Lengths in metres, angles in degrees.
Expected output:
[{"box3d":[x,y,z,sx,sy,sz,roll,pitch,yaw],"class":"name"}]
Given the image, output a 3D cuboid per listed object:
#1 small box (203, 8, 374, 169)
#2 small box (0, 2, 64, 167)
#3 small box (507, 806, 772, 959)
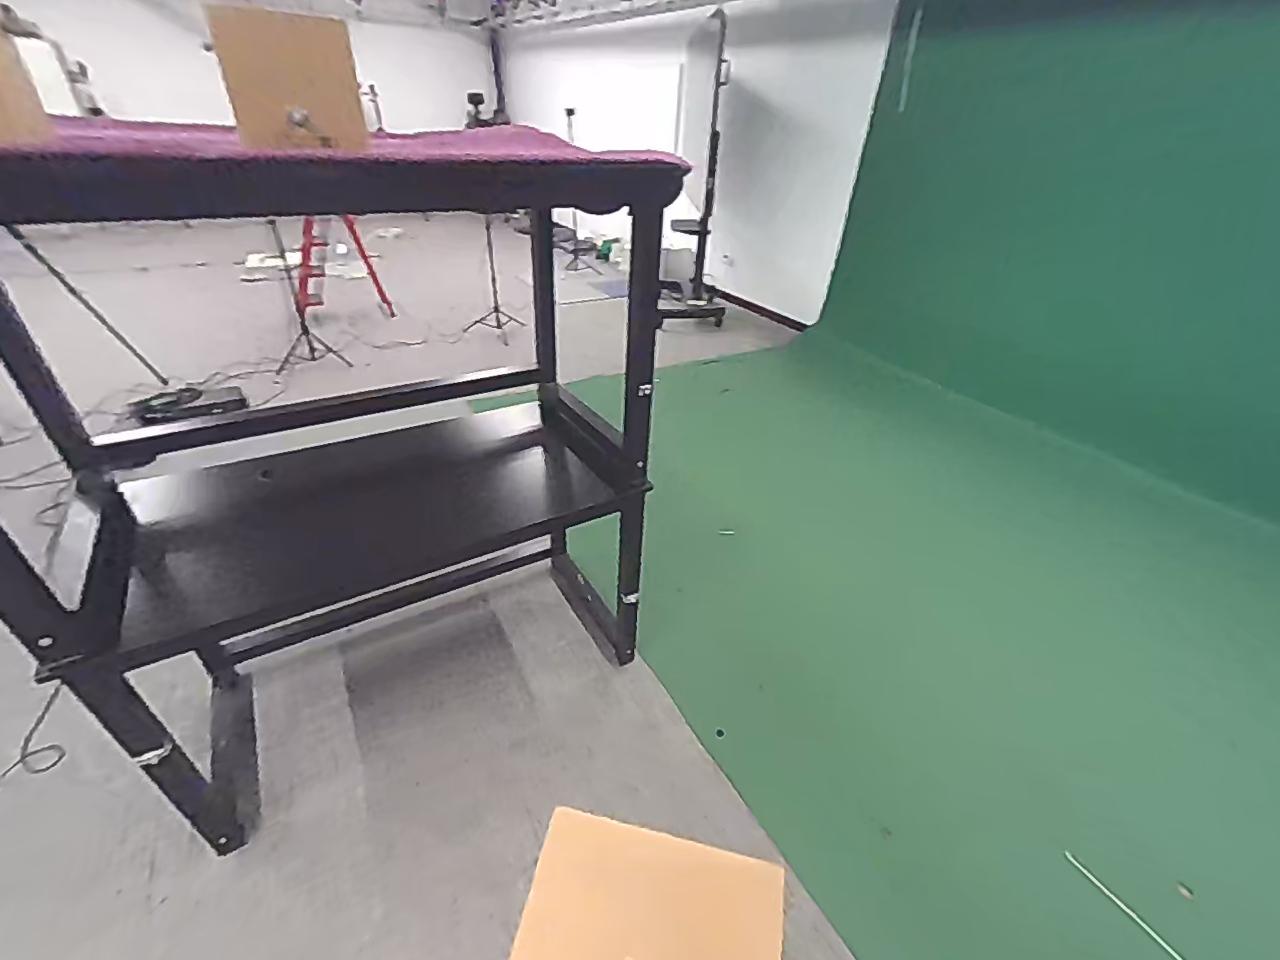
[{"box3d":[-0.508,-0.567,0.796,0.168,0.176,0.179,-17,41,-26],"class":"small box"},{"box3d":[-0.816,-0.461,0.613,0.168,0.176,0.179,-17,38,-27],"class":"small box"},{"box3d":[-0.007,0.371,0.390,0.168,0.176,0.179,9,47,8],"class":"small box"}]
